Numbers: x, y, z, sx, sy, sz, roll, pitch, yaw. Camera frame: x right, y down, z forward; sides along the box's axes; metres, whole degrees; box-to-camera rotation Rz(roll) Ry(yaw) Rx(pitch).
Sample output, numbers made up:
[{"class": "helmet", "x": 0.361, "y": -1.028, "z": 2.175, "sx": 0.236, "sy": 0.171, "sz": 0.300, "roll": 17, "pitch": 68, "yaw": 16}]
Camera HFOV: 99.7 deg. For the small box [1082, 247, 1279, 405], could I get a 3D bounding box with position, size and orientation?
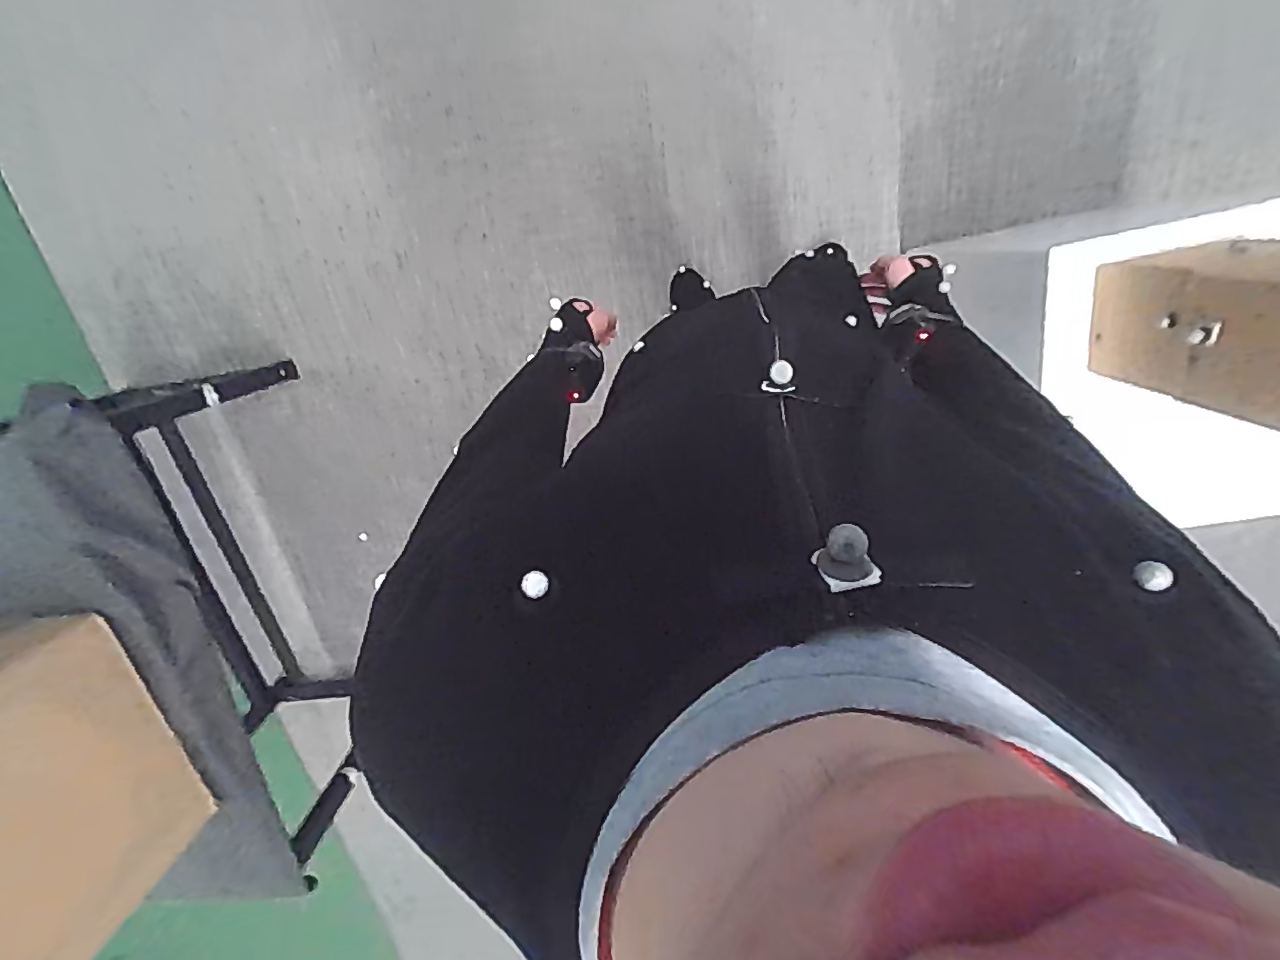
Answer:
[{"class": "small box", "x": 0.759, "y": -0.215, "z": 0.735, "sx": 0.179, "sy": 0.176, "sz": 0.168, "roll": -9, "pitch": 112, "yaw": 8}]
